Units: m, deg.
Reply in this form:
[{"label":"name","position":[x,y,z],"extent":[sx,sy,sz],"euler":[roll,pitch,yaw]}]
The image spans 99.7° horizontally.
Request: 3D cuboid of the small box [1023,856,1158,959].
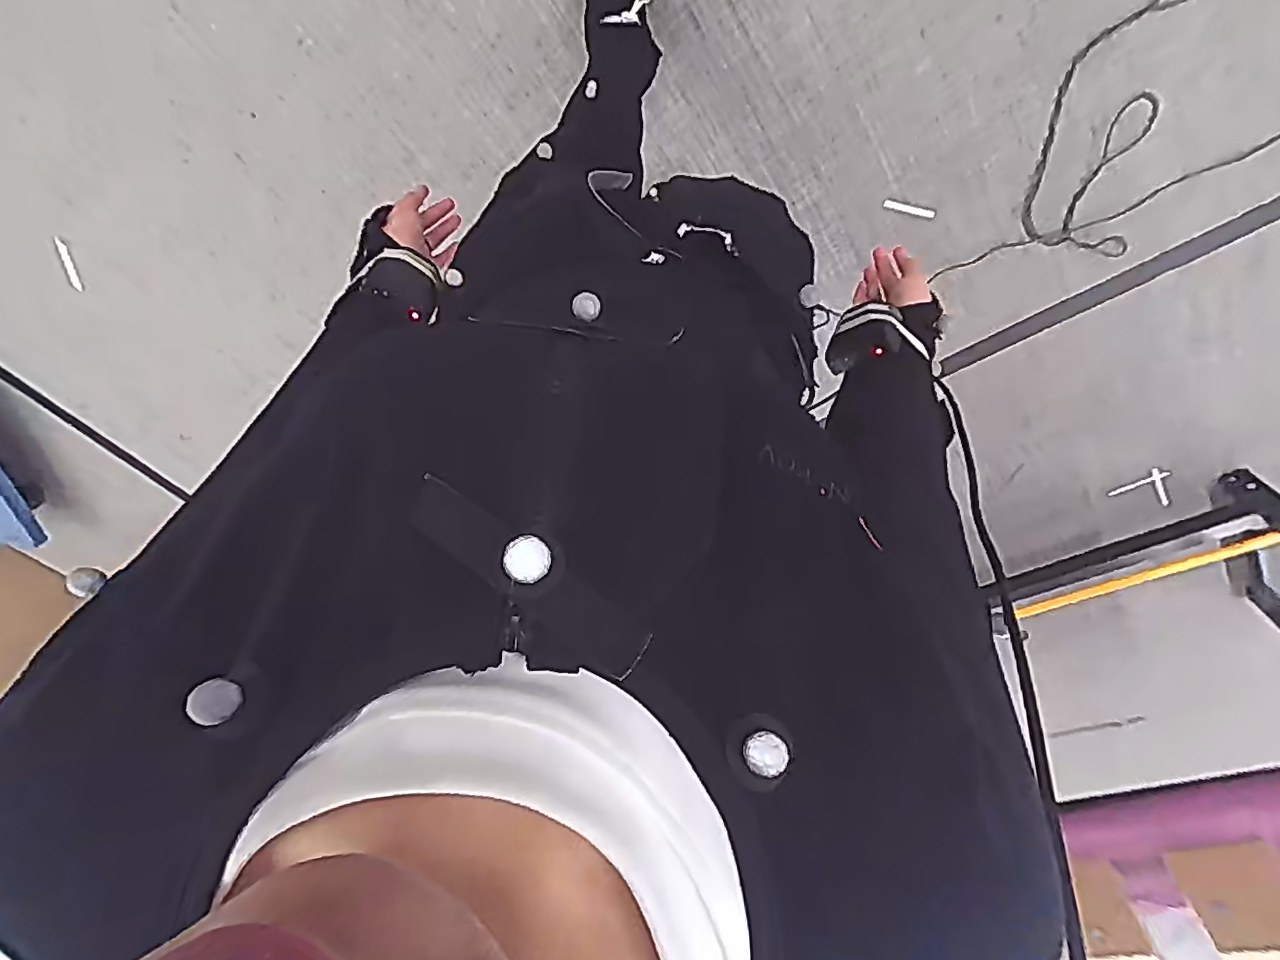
[{"label":"small box","position":[0.980,0.958,1.186],"extent":[0.179,0.176,0.168],"euler":[-31,119,25]}]
